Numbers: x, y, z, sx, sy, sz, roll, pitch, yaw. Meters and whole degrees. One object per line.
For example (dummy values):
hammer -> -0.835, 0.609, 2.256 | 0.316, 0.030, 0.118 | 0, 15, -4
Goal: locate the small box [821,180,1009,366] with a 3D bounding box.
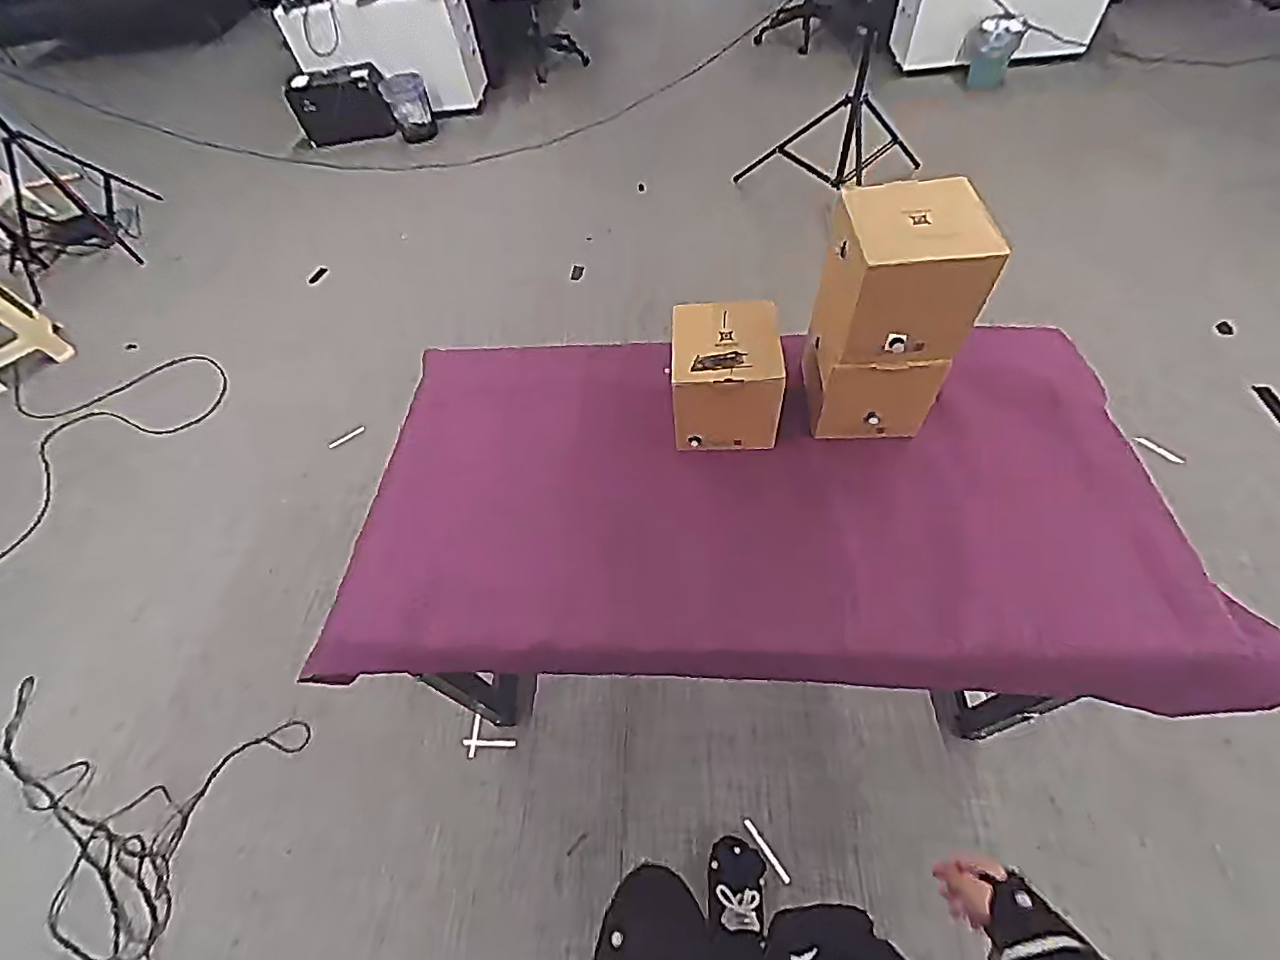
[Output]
small box -> 0.359, -0.282, 0.750 | 0.168, 0.176, 0.179 | -3, 57, 5

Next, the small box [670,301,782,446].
small box -> 0.137, -0.168, 0.893 | 0.168, 0.176, 0.179 | -1, 56, 5

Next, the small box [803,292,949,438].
small box -> 0.368, -0.187, 0.882 | 0.168, 0.176, 0.179 | -1, 57, 7
